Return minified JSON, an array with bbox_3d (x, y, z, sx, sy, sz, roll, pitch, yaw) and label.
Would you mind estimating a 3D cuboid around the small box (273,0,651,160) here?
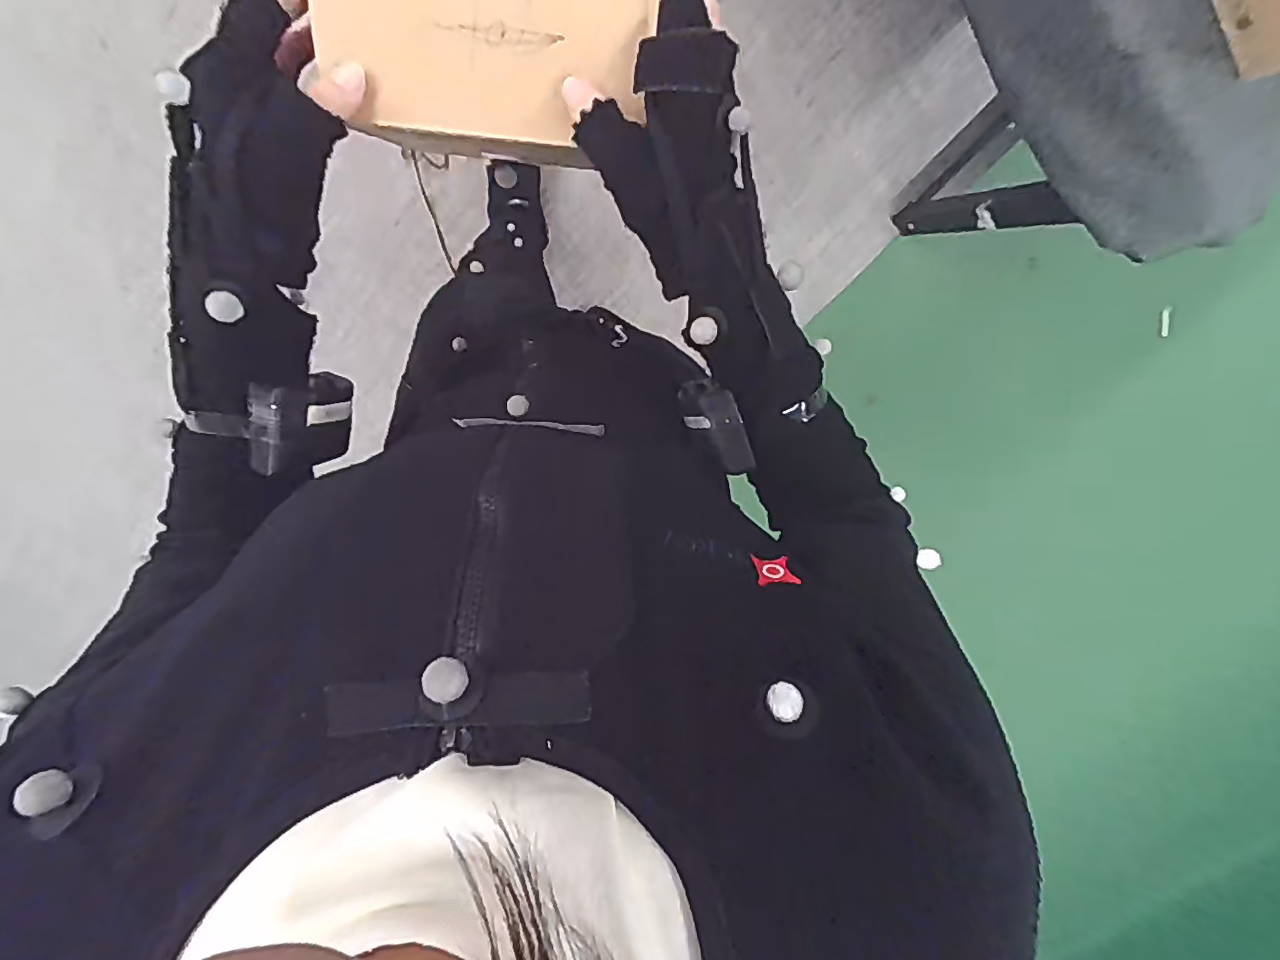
[{"bbox_3d":[-0.076,-0.289,0.290,0.168,0.176,0.179,5,117,-5],"label":"small box"}]
